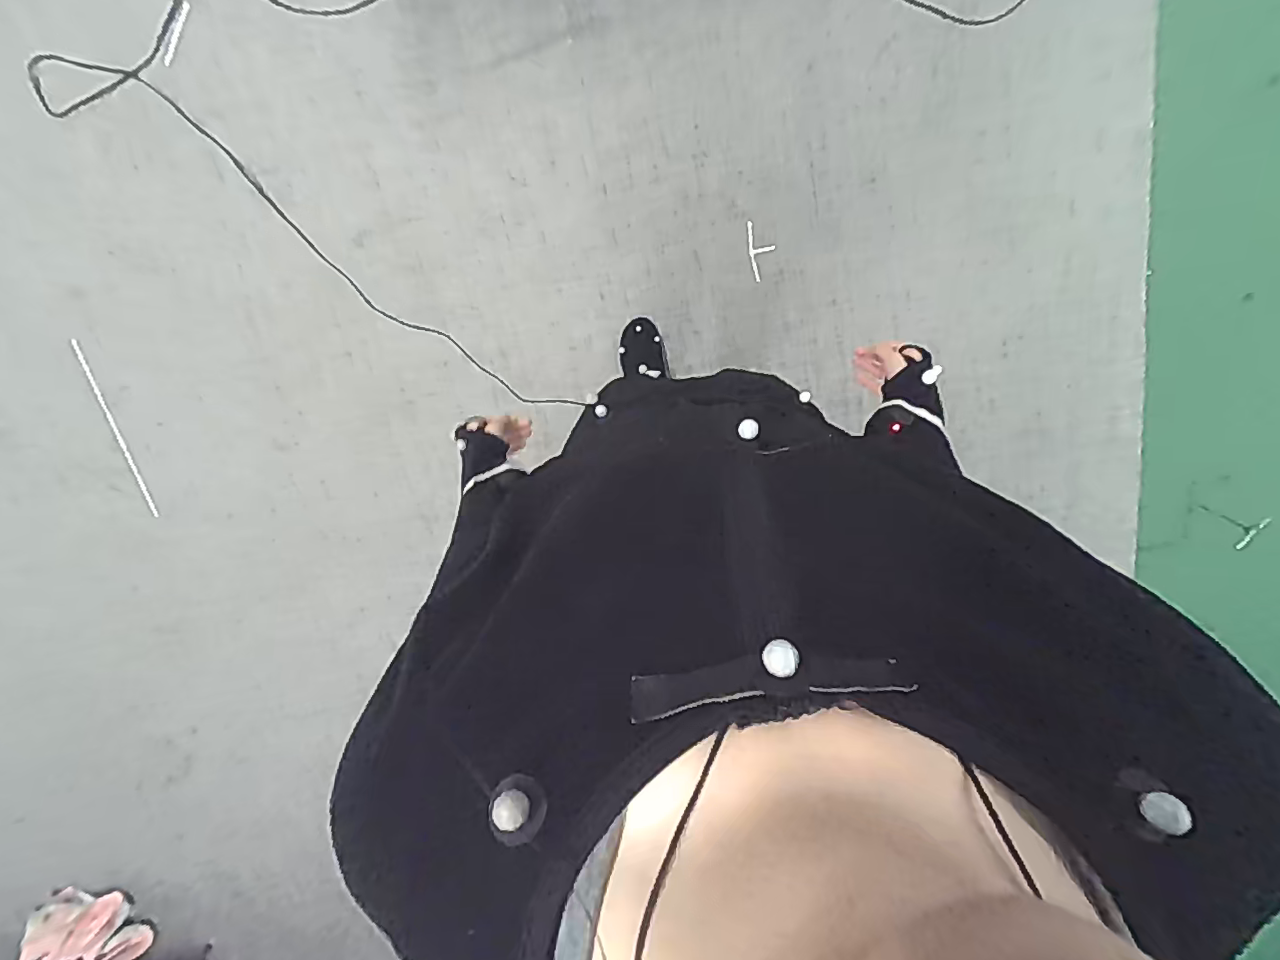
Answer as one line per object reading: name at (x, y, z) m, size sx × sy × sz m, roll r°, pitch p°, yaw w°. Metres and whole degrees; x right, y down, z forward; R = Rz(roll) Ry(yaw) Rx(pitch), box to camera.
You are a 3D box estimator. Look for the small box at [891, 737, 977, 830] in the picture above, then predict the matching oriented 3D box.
small box at (0.876, 0.900, 1.625) m, size 0.168 × 0.176 × 0.179 m, roll -12°, pitch 104°, yaw 4°
